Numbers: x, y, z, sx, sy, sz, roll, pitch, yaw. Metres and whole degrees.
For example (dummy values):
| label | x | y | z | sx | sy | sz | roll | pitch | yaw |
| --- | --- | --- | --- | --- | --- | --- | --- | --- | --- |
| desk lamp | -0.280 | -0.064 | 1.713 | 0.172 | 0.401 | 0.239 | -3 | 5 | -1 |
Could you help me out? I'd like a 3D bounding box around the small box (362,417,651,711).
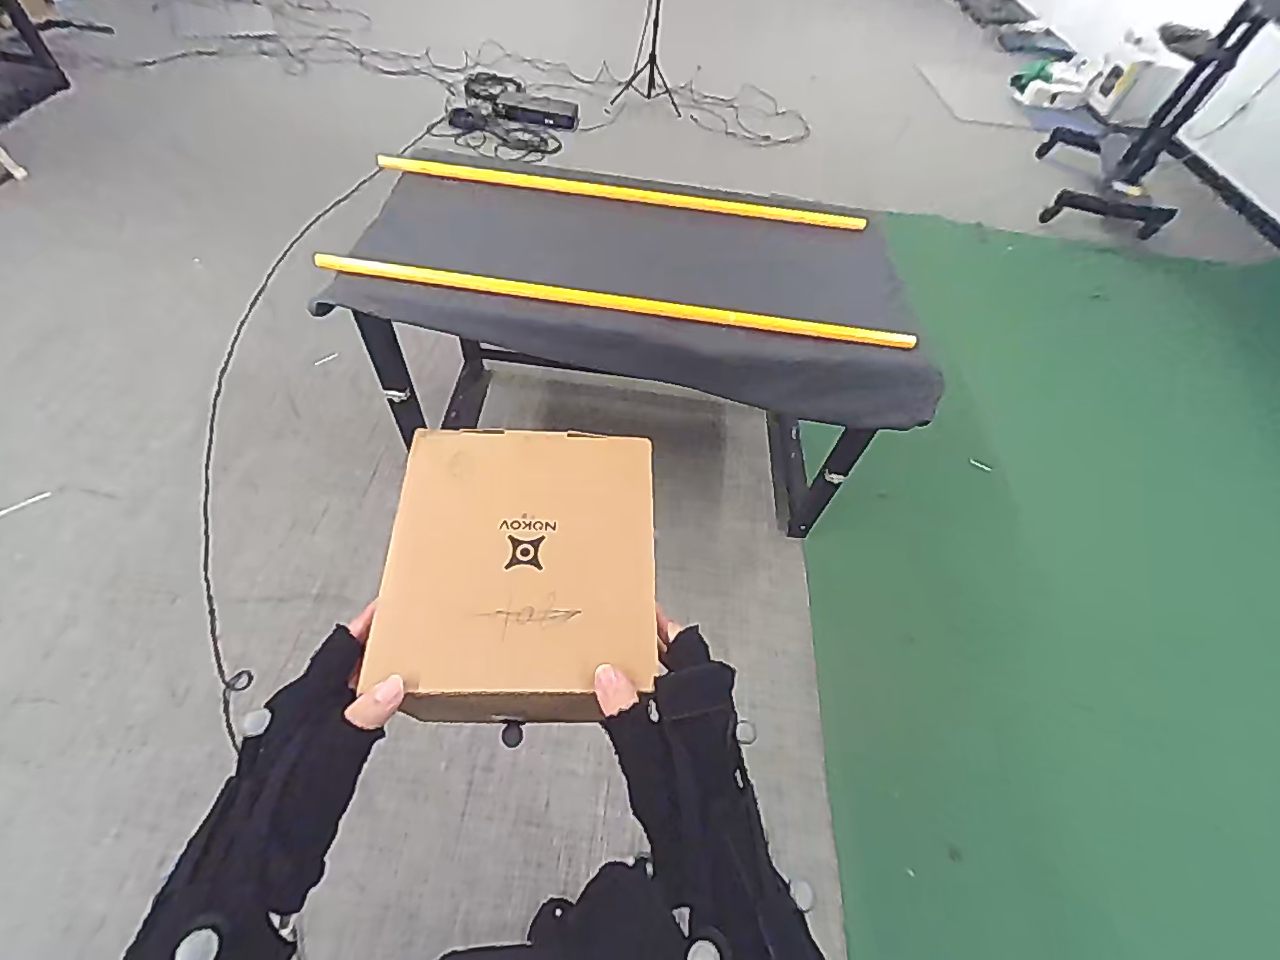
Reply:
| label | x | y | z | sx | sy | sz | roll | pitch | yaw |
| --- | --- | --- | --- | --- | --- | --- | --- | --- | --- |
| small box | -0.084 | 0.073 | 0.417 | 0.168 | 0.176 | 0.179 | 2 | 61 | -6 |
